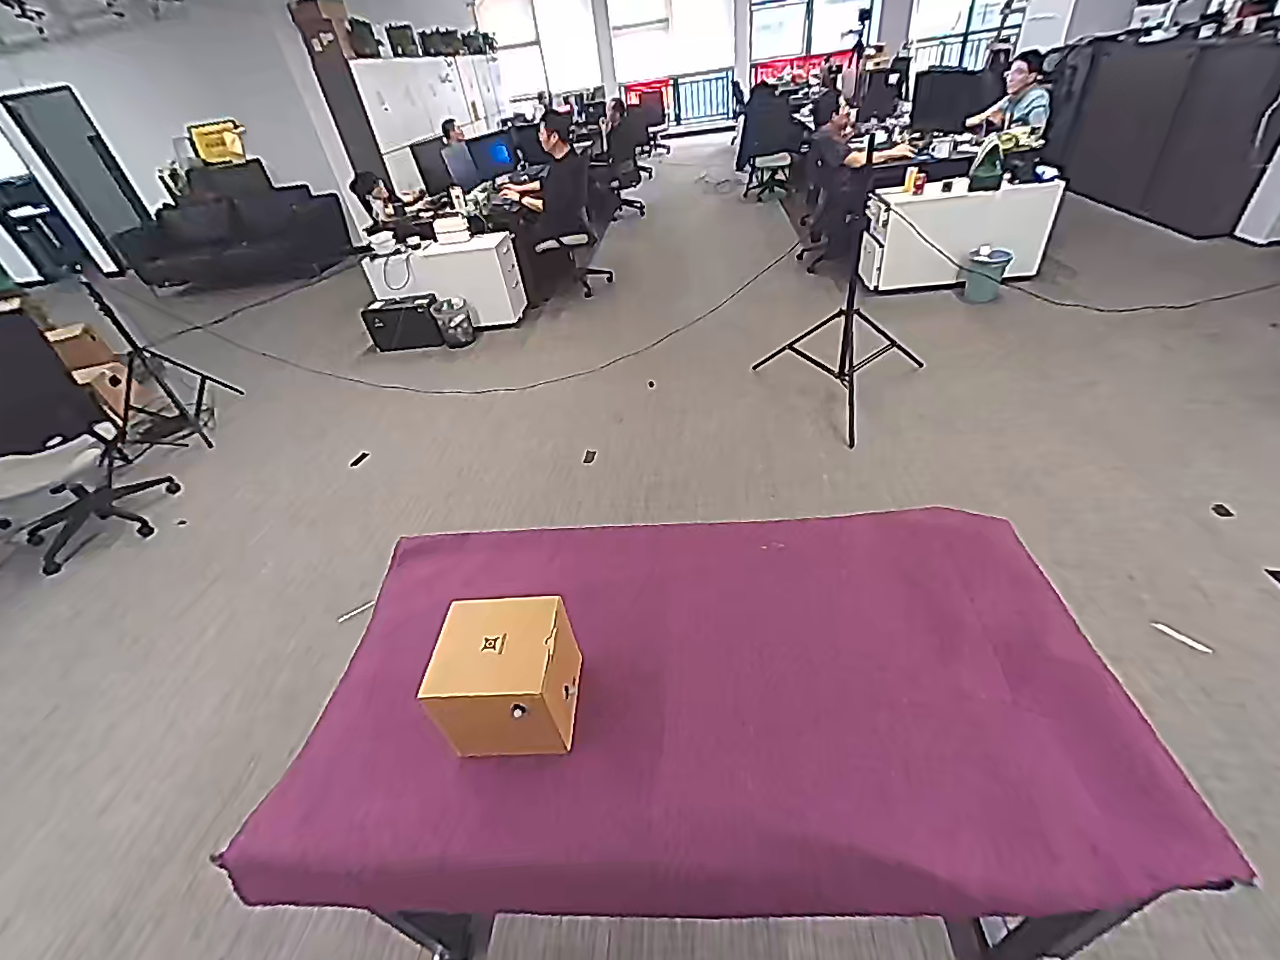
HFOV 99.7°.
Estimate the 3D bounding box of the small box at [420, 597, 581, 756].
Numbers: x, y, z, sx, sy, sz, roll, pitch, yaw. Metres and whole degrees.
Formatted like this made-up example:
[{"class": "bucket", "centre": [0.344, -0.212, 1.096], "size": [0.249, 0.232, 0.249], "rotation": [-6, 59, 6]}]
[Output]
[{"class": "small box", "centre": [-0.198, 0.300, 0.823], "size": [0.179, 0.176, 0.168], "rotation": [-4, 38, 5]}]
